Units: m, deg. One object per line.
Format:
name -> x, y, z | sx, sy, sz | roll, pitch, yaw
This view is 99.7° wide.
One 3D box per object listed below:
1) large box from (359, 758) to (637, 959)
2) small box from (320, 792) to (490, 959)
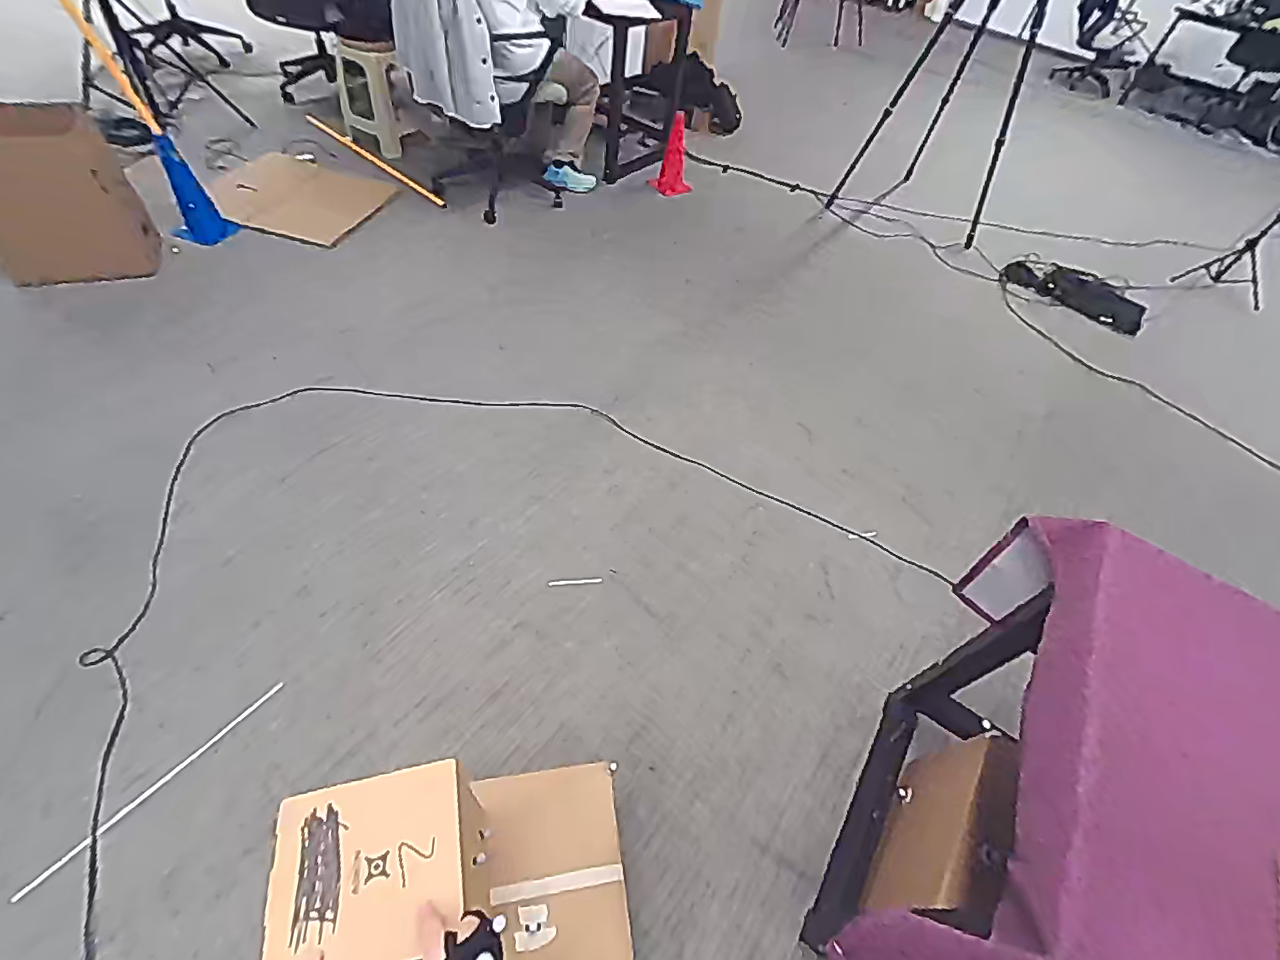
large box -> -0.238, 0.700, 0.909 | 0.408, 0.320, 0.320 | -3, 53, -12
small box -> -0.294, 0.535, 0.716 | 0.179, 0.176, 0.168 | -6, 51, -13
